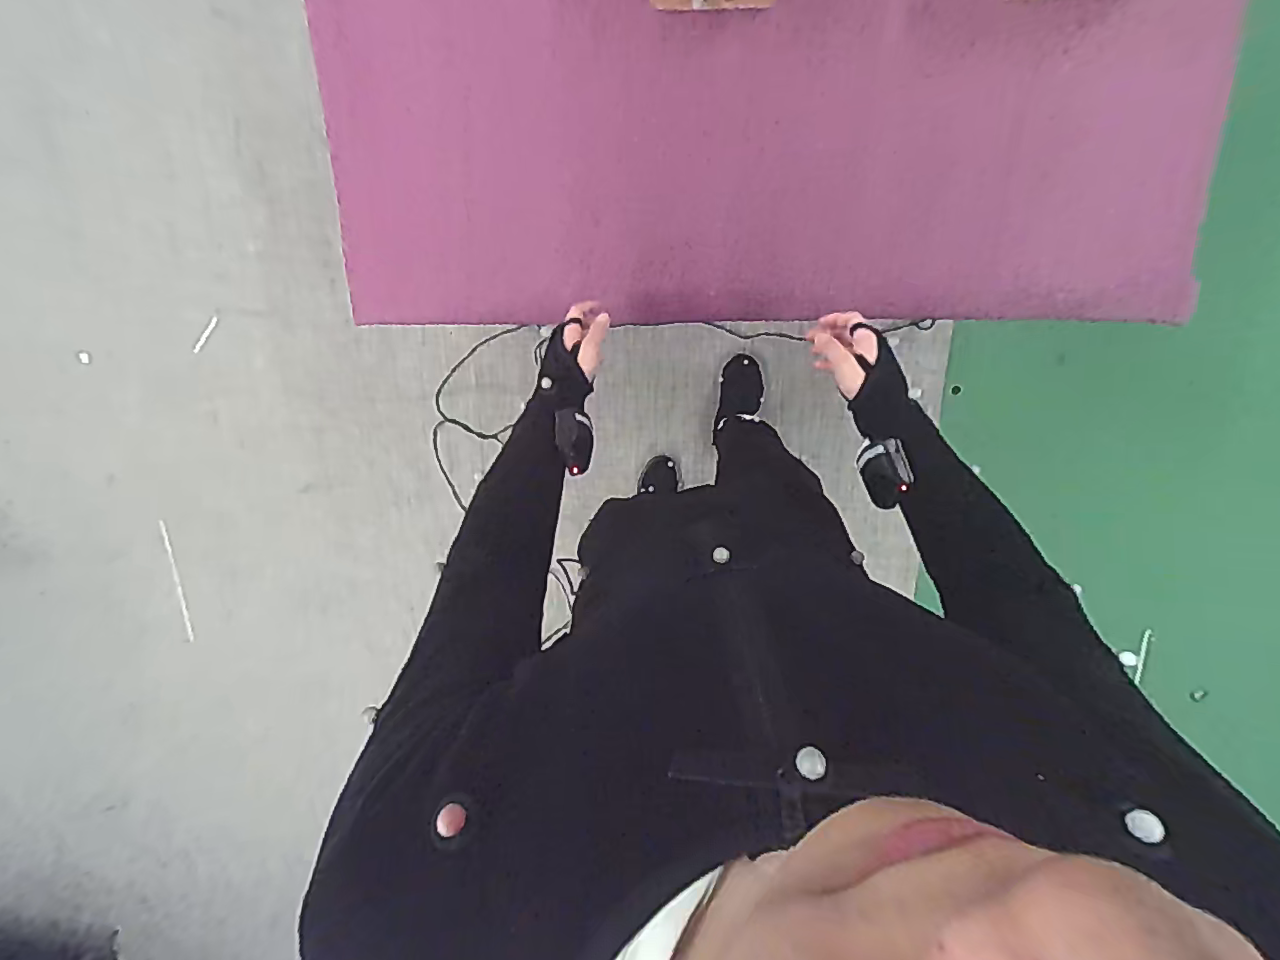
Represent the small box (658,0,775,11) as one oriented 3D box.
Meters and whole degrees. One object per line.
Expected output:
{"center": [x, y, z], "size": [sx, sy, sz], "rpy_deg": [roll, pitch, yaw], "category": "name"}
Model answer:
{"center": [0.091, -0.685, 0.615], "size": [0.168, 0.176, 0.179], "rpy_deg": [4, 106, 7], "category": "small box"}
